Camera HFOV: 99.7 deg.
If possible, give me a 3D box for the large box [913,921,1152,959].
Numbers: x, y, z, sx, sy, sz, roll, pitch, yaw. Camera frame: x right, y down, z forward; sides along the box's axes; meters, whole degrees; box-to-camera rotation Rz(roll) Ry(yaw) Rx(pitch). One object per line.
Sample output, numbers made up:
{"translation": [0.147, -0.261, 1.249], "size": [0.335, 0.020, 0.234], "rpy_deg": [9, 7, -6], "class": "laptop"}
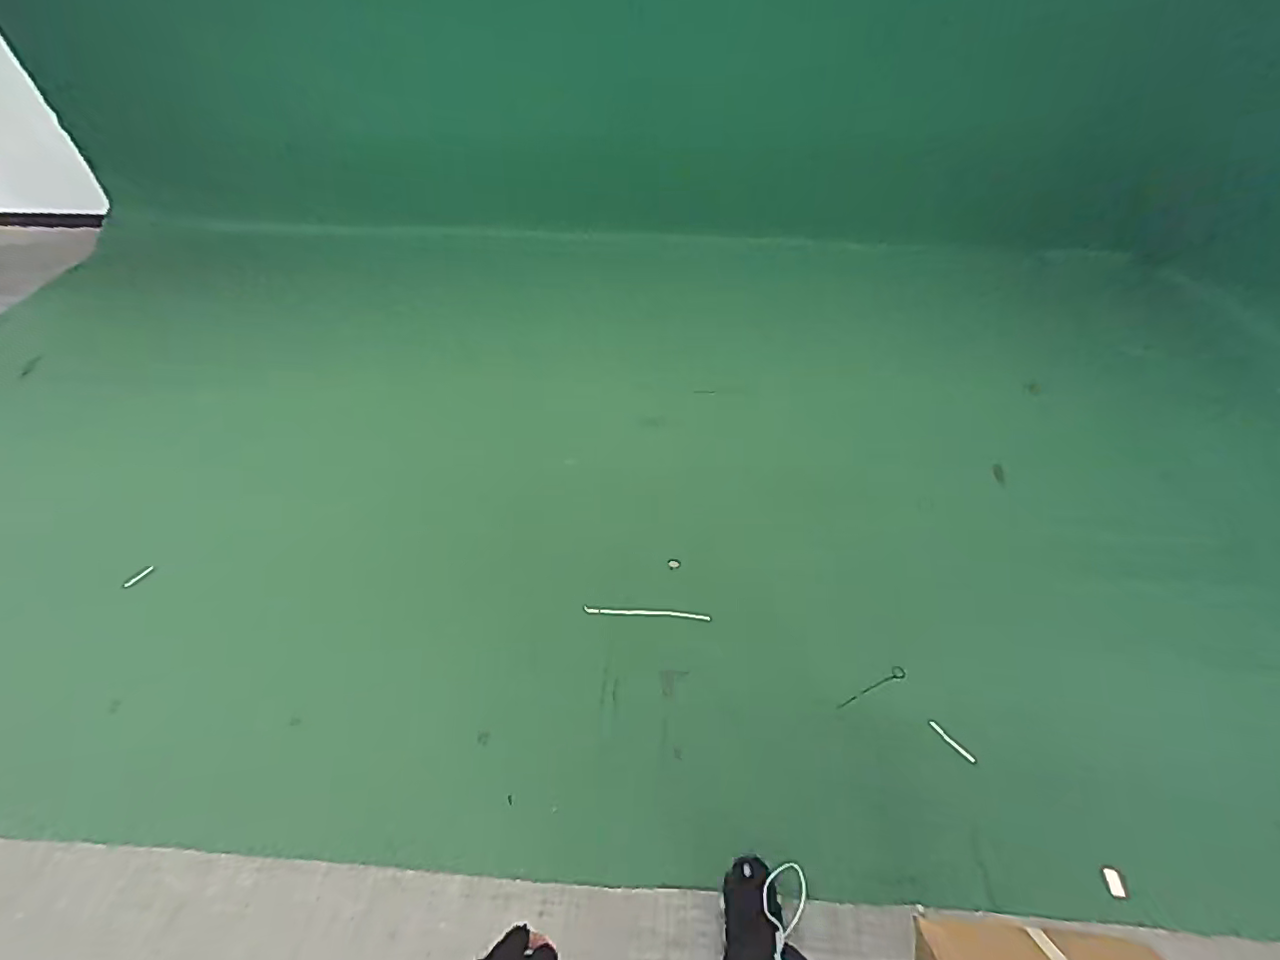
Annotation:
{"translation": [0.524, 0.779, 0.565], "size": [0.320, 0.408, 0.320], "rpy_deg": [3, 85, 6], "class": "large box"}
